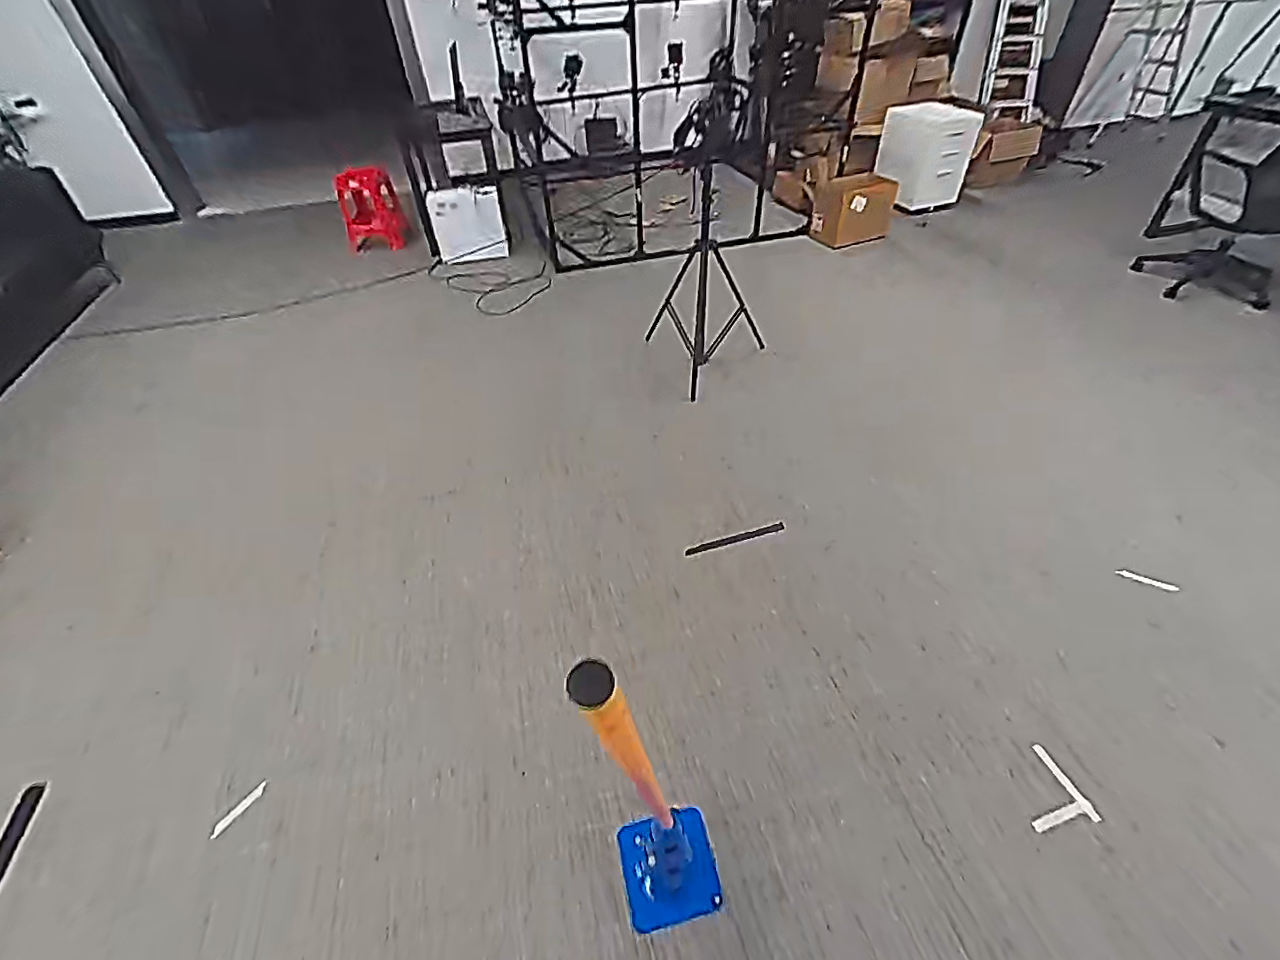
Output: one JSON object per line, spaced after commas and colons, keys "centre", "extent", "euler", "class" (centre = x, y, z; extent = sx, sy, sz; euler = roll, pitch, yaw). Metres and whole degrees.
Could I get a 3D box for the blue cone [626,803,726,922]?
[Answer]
{"centre": [0.066, 0.720, 1.073], "extent": [0.192, 0.380, 0.193], "euler": [-10, 44, -7], "class": "blue cone"}
